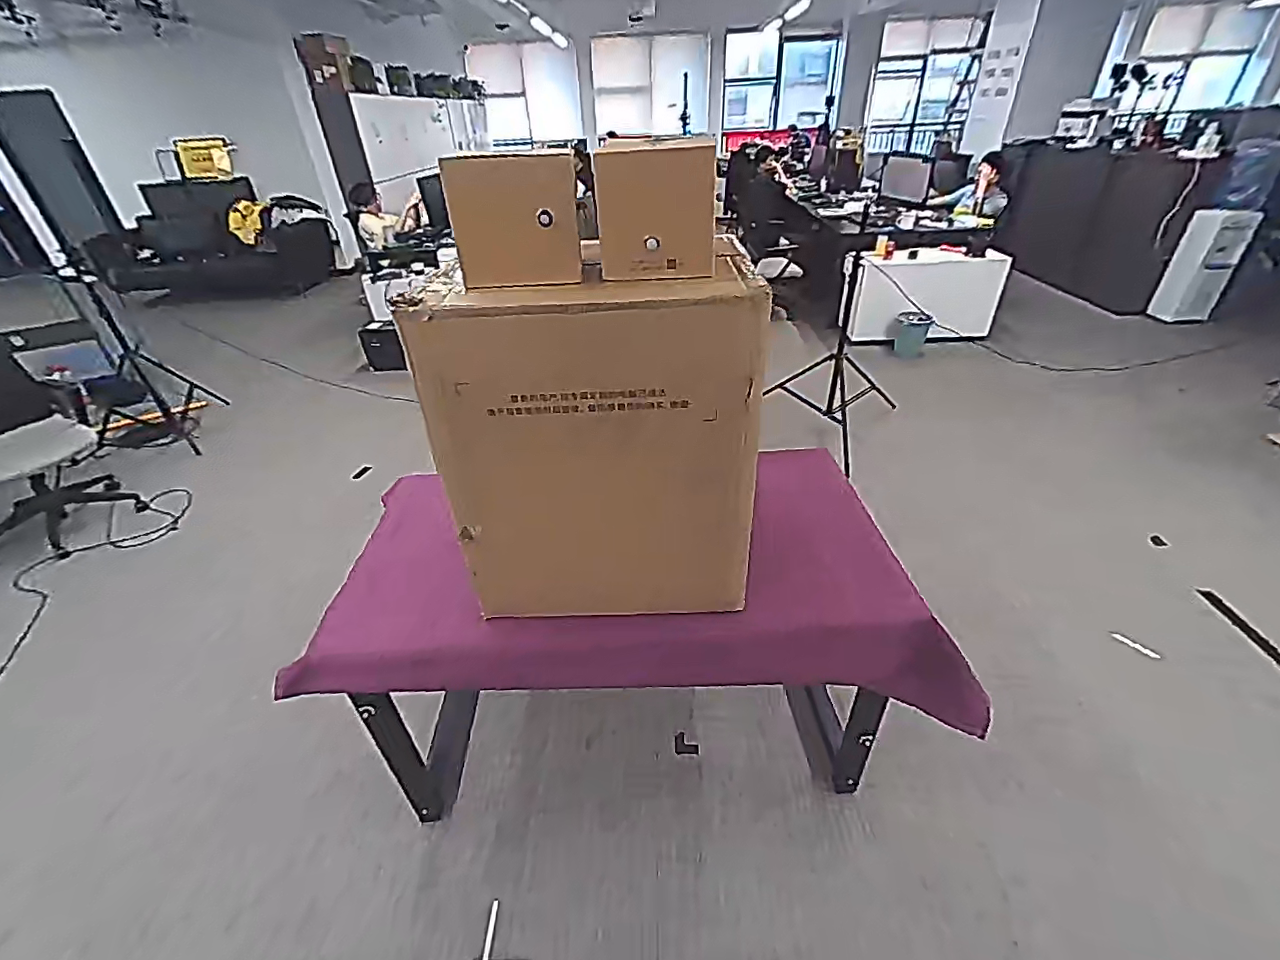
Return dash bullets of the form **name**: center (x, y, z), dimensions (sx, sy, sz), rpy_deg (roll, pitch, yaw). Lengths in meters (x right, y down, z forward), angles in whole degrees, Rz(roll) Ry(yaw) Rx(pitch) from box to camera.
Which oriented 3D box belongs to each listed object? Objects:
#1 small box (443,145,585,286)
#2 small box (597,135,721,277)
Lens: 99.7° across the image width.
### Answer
- **small box**: center (-0.173, -0.398, 0.810), dimensions (0.179, 0.176, 0.168), rpy_deg (-5, 33, -4)
- **small box**: center (0.035, -0.414, 0.816), dimensions (0.168, 0.176, 0.179), rpy_deg (0, 35, 6)
